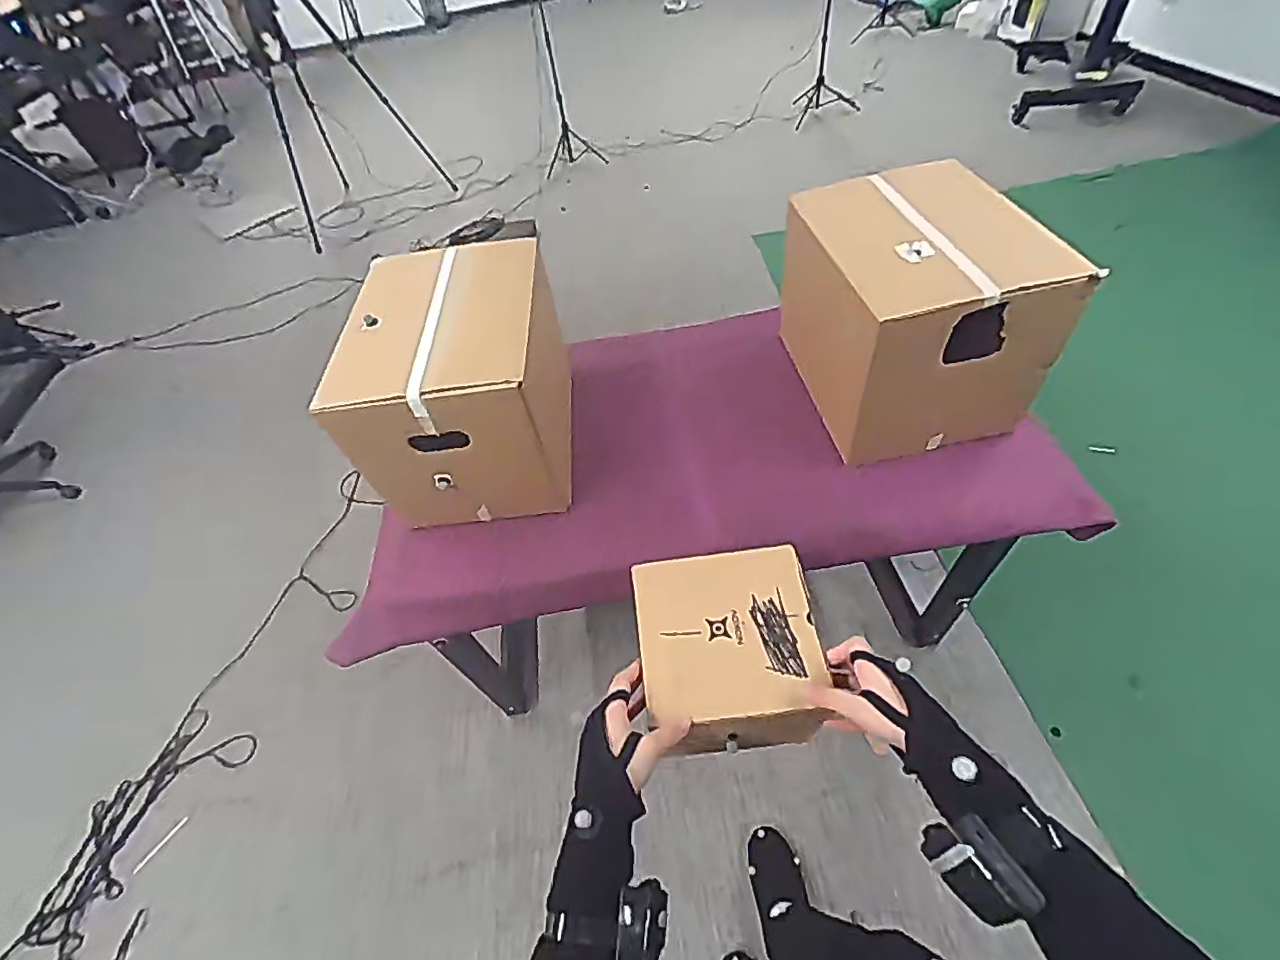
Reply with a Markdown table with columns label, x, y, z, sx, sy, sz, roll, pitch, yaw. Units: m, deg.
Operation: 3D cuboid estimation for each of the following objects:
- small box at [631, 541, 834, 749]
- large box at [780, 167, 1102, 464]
| label | x | y | z | sx | sy | sz | roll | pitch | yaw |
| --- | --- | --- | --- | --- | --- | --- | --- | --- | --- |
| small box | 0.088 | 0.185 | 0.594 | 0.179 | 0.176 | 0.168 | -7 | 53 | 1 |
| large box | 0.471 | -0.297 | 0.975 | 0.320 | 0.320 | 0.408 | -12 | 51 | 2 |
